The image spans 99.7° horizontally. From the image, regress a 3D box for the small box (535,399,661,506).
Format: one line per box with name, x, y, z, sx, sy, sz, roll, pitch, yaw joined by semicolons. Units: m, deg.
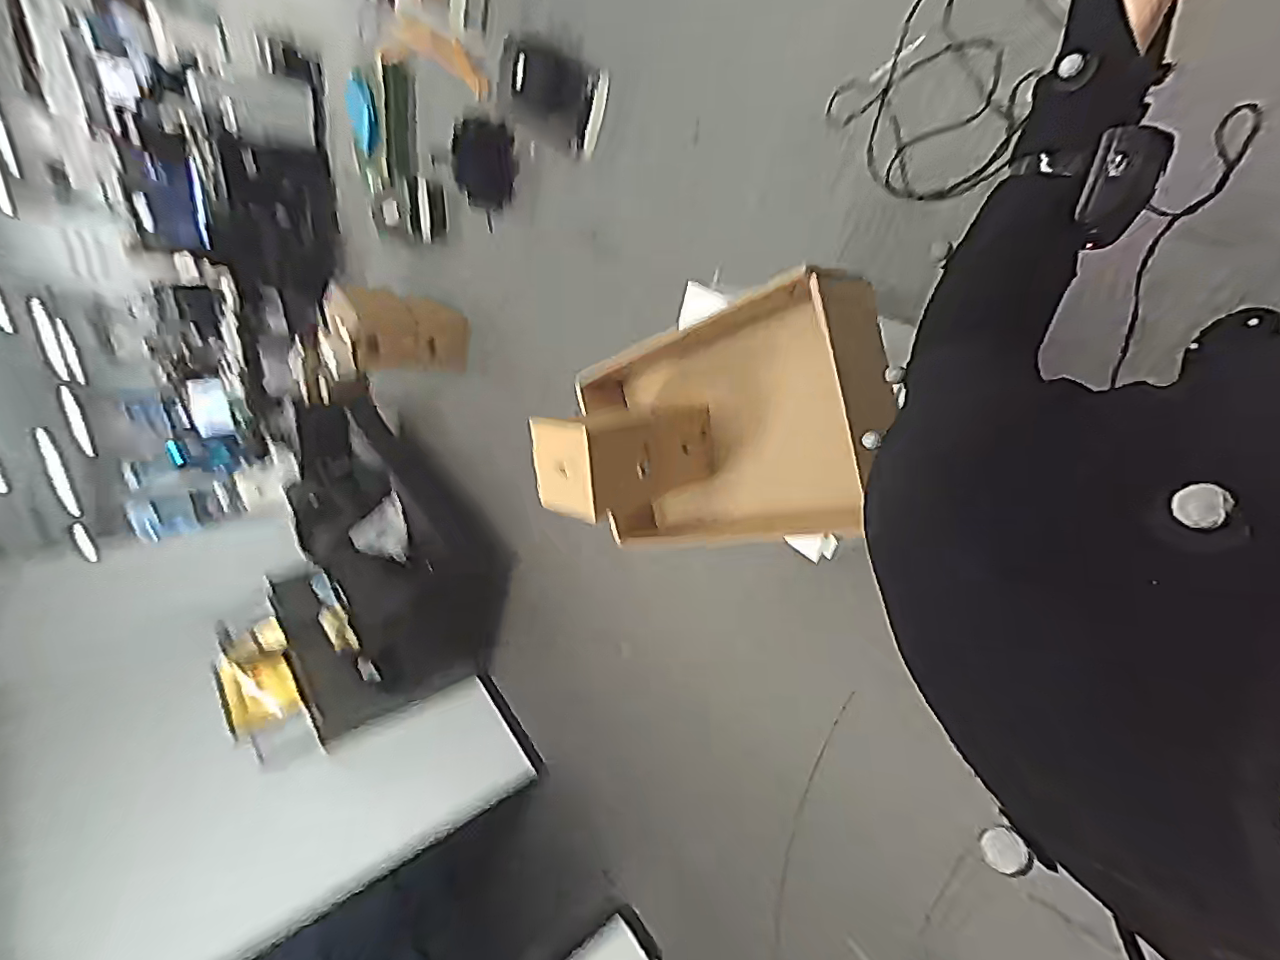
small box;-0.080;-0.062;1.048;0.179;0.176;0.168;12;113;45
